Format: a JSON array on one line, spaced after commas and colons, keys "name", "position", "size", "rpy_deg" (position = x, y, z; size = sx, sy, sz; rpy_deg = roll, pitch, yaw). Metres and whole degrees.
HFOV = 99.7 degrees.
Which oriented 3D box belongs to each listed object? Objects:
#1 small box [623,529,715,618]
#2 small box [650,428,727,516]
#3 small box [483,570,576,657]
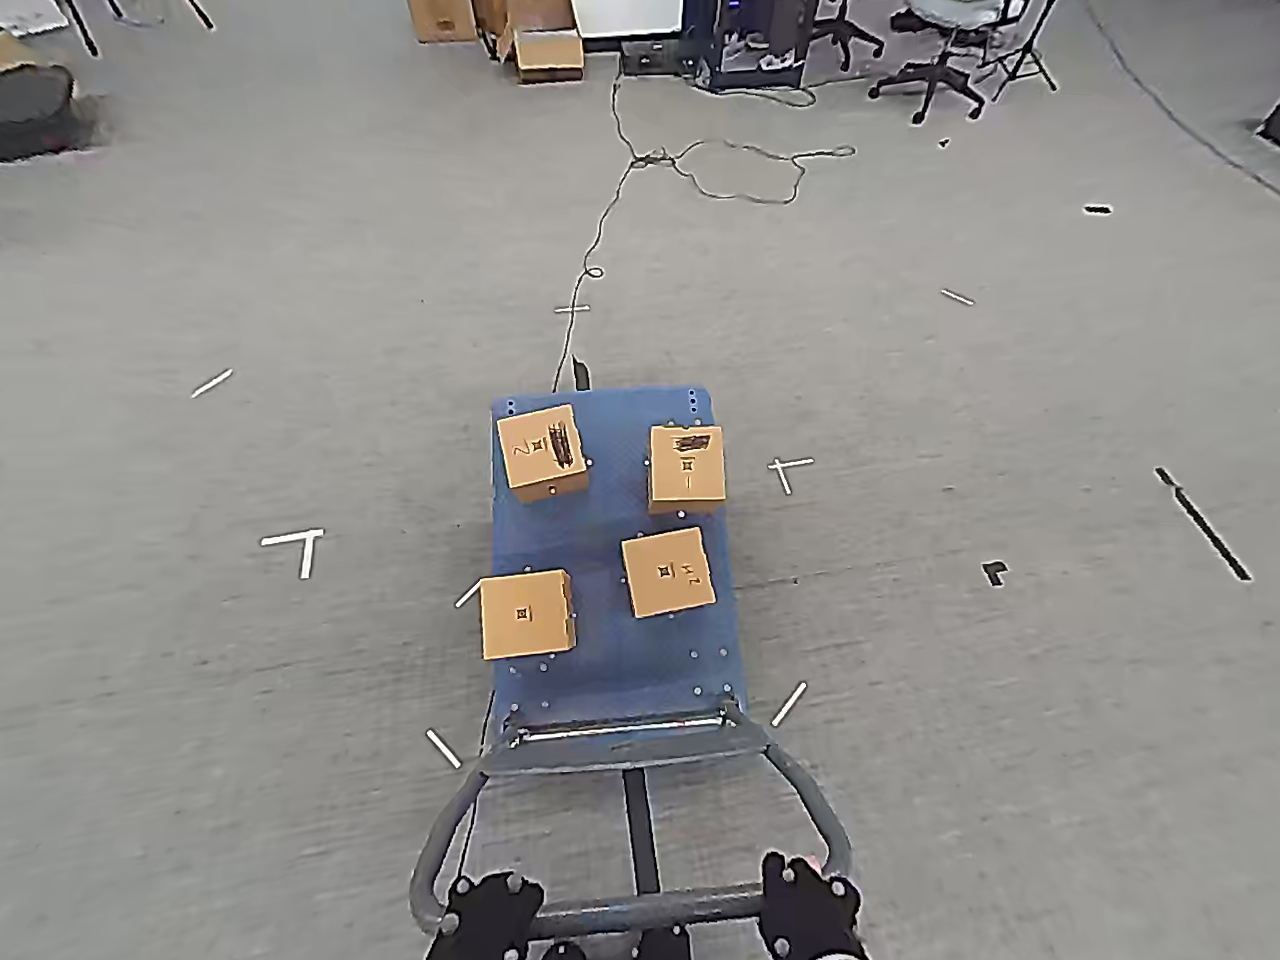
[{"name": "small box", "position": [0.060, 0.218, 1.227], "size": [0.179, 0.176, 0.168], "rpy_deg": [-10, 76, -4]}, {"name": "small box", "position": [0.110, -0.015, 1.292], "size": [0.168, 0.176, 0.179], "rpy_deg": [0, 76, -1]}, {"name": "small box", "position": [-0.240, 0.299, 1.199], "size": [0.179, 0.176, 0.168], "rpy_deg": [-6, 75, -5]}]
